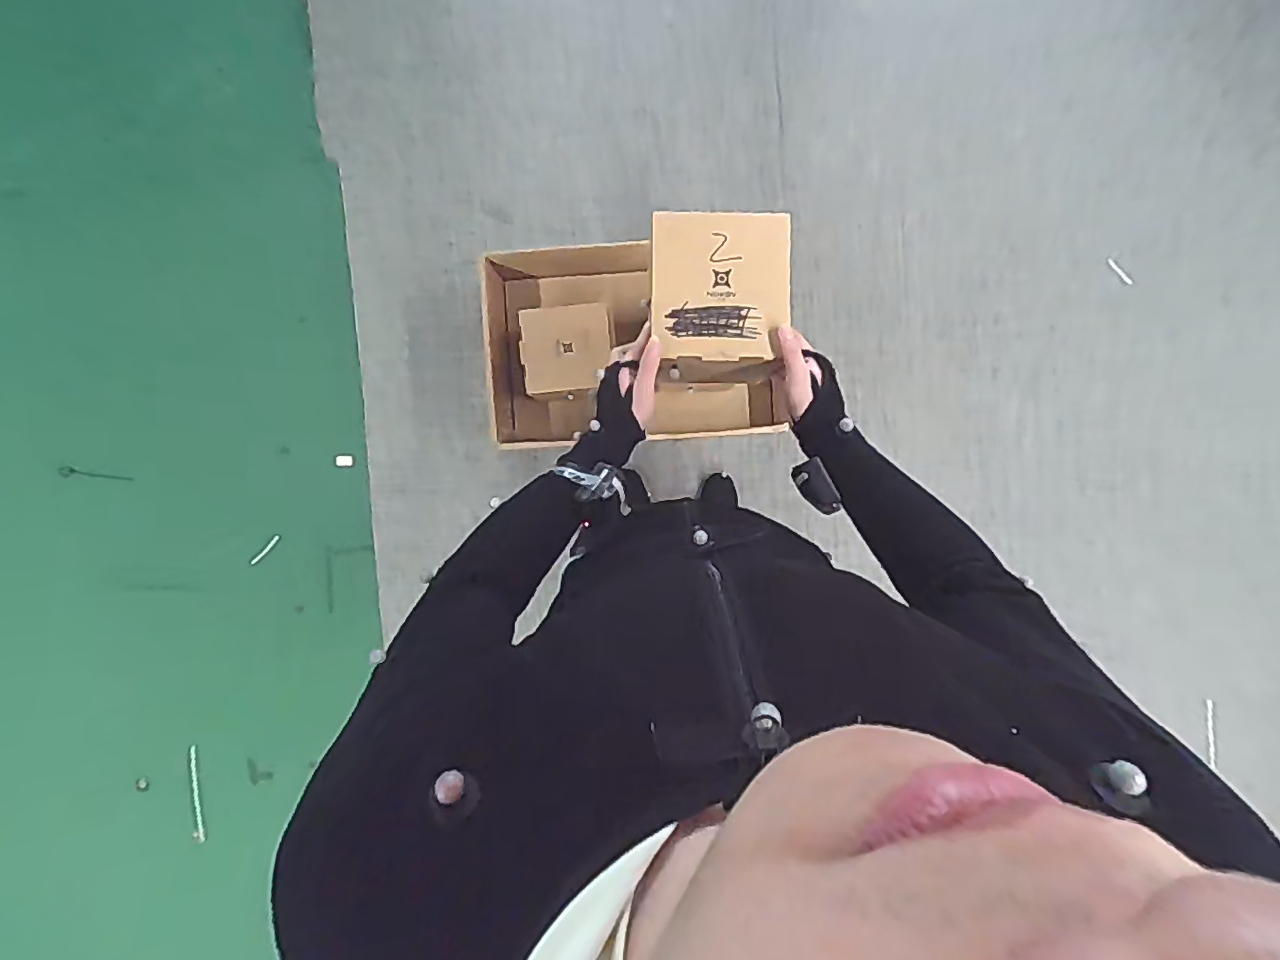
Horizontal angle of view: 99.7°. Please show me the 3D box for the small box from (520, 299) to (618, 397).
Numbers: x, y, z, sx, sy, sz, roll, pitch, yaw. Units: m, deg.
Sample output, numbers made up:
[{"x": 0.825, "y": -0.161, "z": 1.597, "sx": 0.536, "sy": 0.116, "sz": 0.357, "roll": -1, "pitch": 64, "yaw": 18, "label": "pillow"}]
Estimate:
[{"x": -0.141, "y": -0.268, "z": 1.132, "sx": 0.179, "sy": 0.176, "sz": 0.168, "roll": -4, "pitch": 93, "yaw": 0, "label": "small box"}]
